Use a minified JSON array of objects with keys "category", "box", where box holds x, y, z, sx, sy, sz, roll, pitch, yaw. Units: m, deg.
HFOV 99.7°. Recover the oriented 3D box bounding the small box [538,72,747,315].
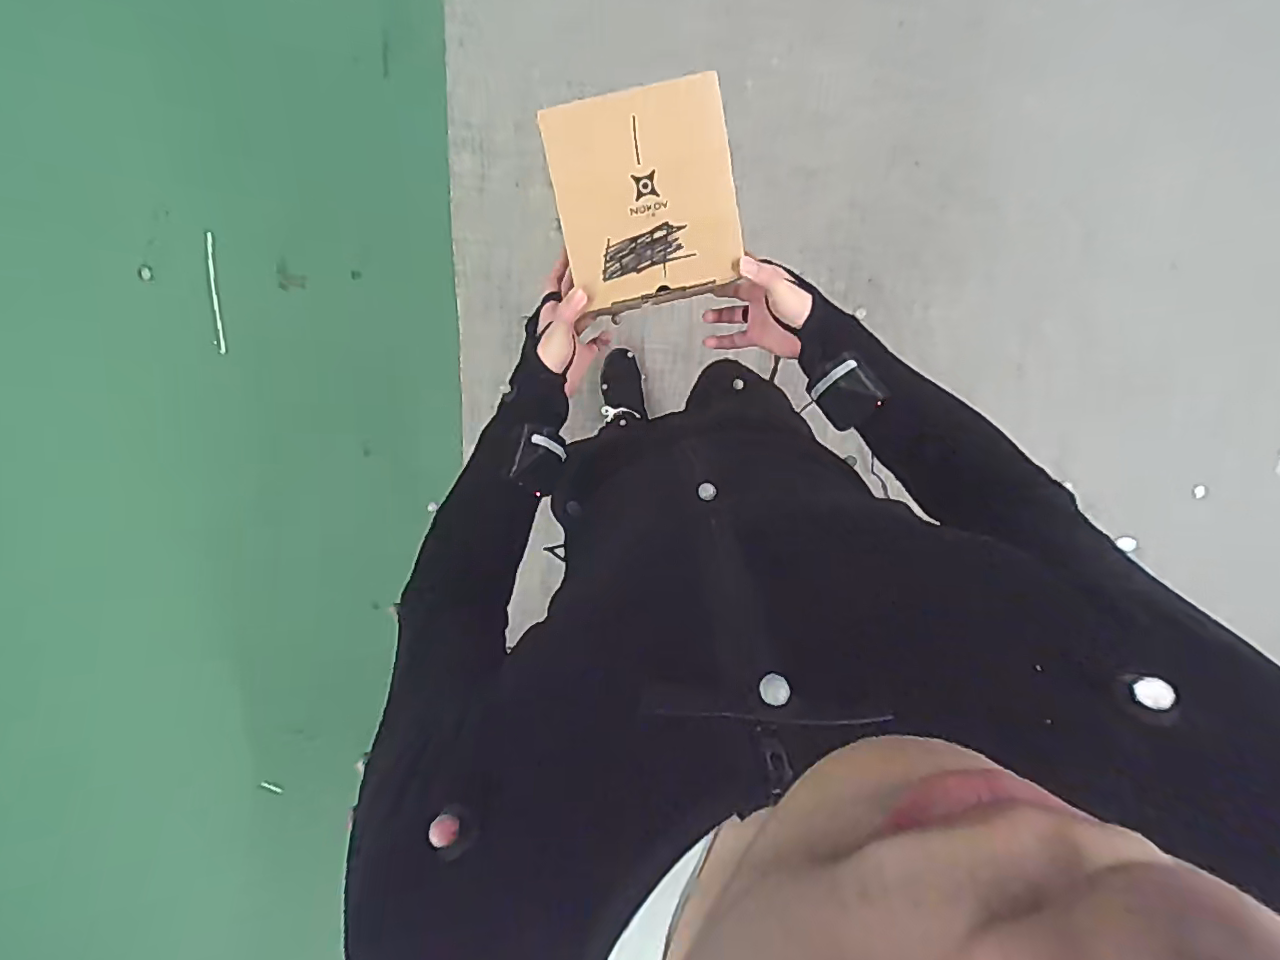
[{"category":"small box","box":[0.004,-0.274,0.562,0.168,0.176,0.179,-11,103,0]}]
